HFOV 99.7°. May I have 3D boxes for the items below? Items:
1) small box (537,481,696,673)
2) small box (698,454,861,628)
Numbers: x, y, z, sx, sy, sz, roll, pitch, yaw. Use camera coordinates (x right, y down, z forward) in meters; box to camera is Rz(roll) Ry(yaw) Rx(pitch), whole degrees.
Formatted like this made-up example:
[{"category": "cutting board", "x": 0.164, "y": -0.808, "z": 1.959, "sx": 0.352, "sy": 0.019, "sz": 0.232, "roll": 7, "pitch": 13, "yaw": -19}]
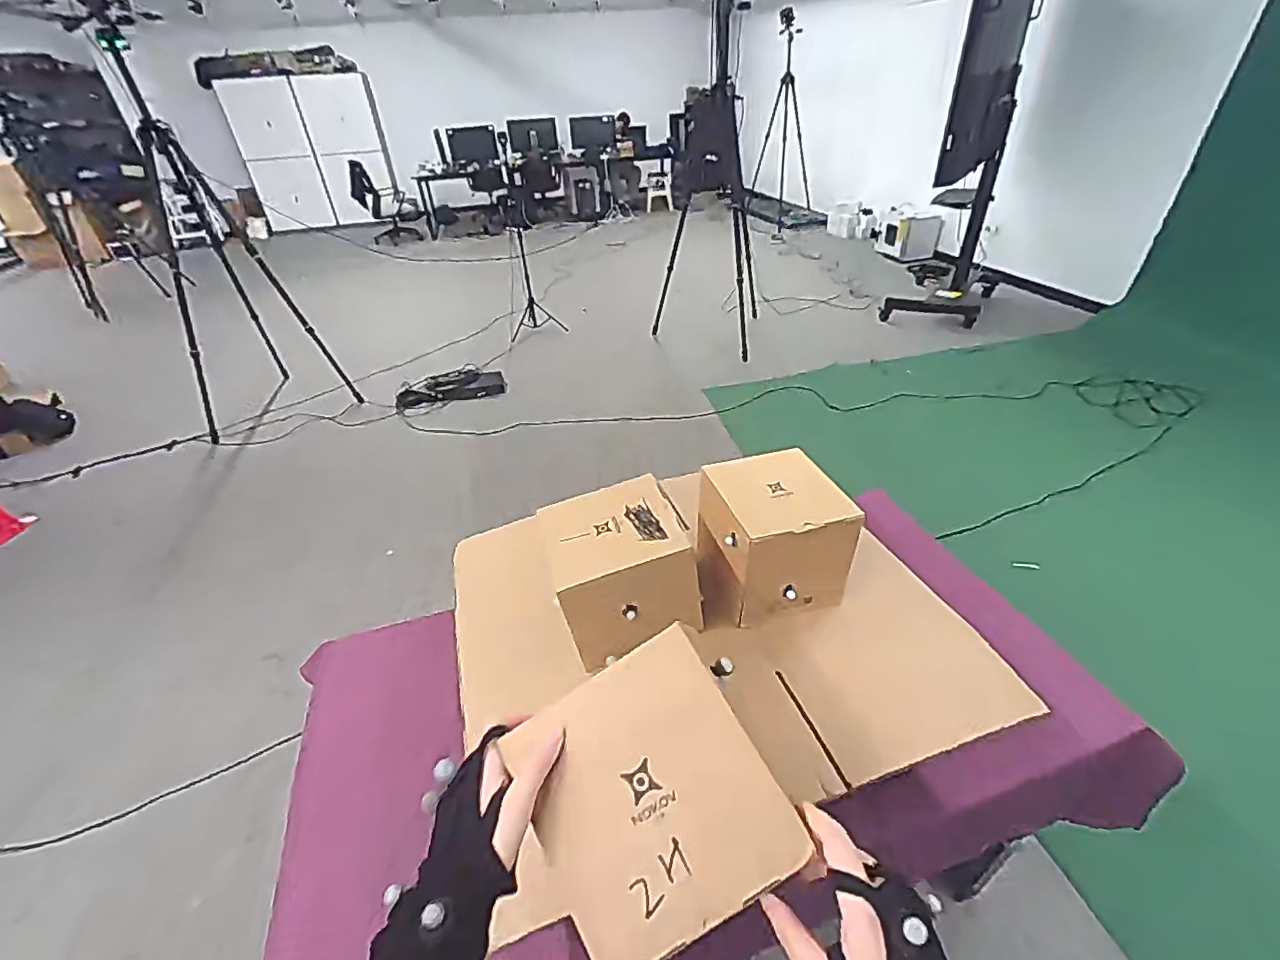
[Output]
[{"category": "small box", "x": -0.029, "y": 0.134, "z": 0.757, "sx": 0.179, "sy": 0.176, "sz": 0.168, "roll": -19, "pitch": 38, "yaw": -7}, {"category": "small box", "x": 0.191, "y": 0.087, "z": 0.803, "sx": 0.168, "sy": 0.176, "sz": 0.179, "roll": -11, "pitch": 37, "yaw": -12}]
